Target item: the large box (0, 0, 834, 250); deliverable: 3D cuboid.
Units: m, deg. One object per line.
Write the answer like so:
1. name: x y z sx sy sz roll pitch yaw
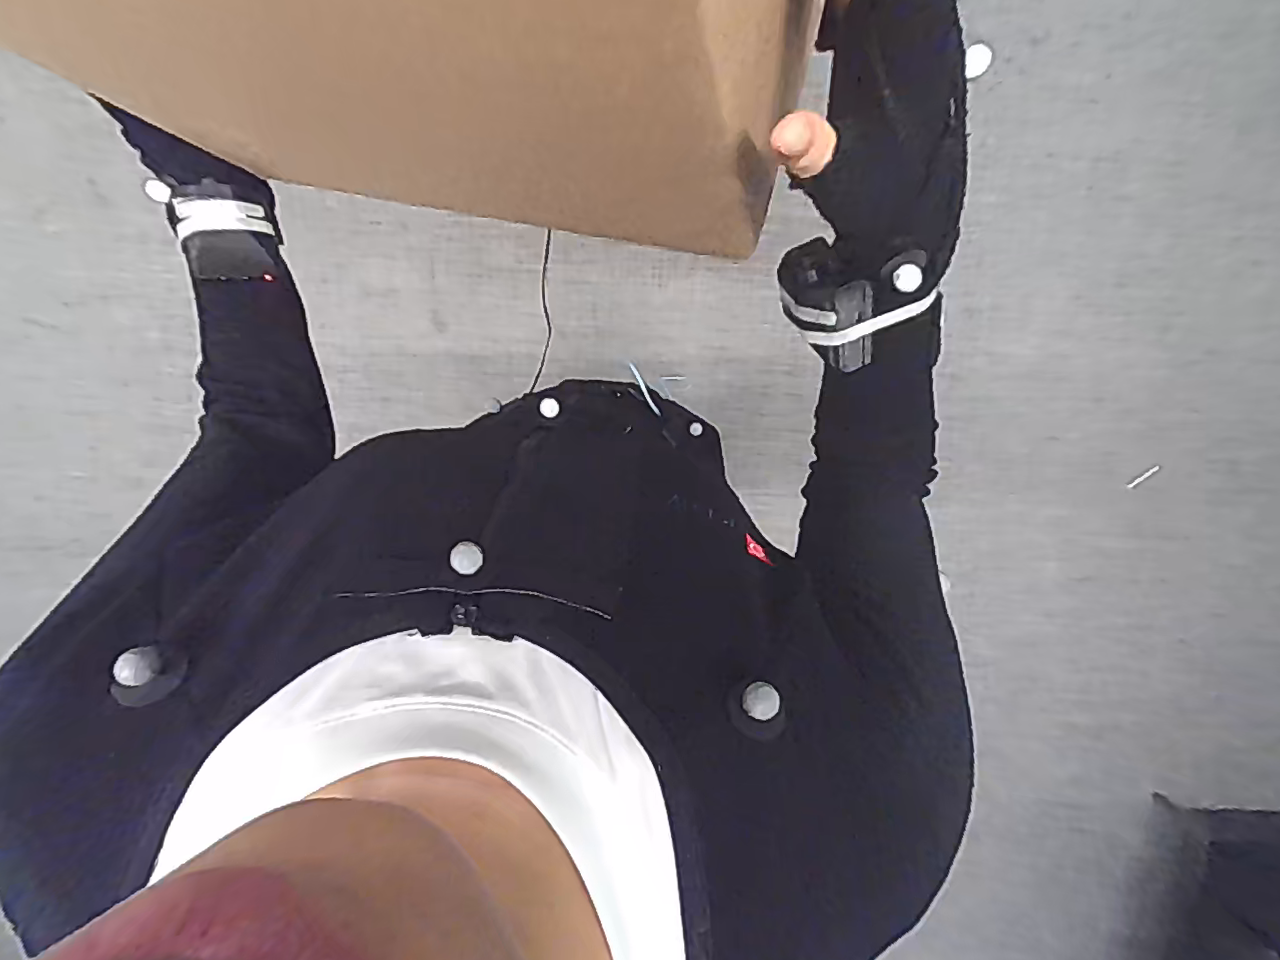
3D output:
1. large box: -0.105 -0.328 0.224 0.408 0.320 0.320 15 98 12
